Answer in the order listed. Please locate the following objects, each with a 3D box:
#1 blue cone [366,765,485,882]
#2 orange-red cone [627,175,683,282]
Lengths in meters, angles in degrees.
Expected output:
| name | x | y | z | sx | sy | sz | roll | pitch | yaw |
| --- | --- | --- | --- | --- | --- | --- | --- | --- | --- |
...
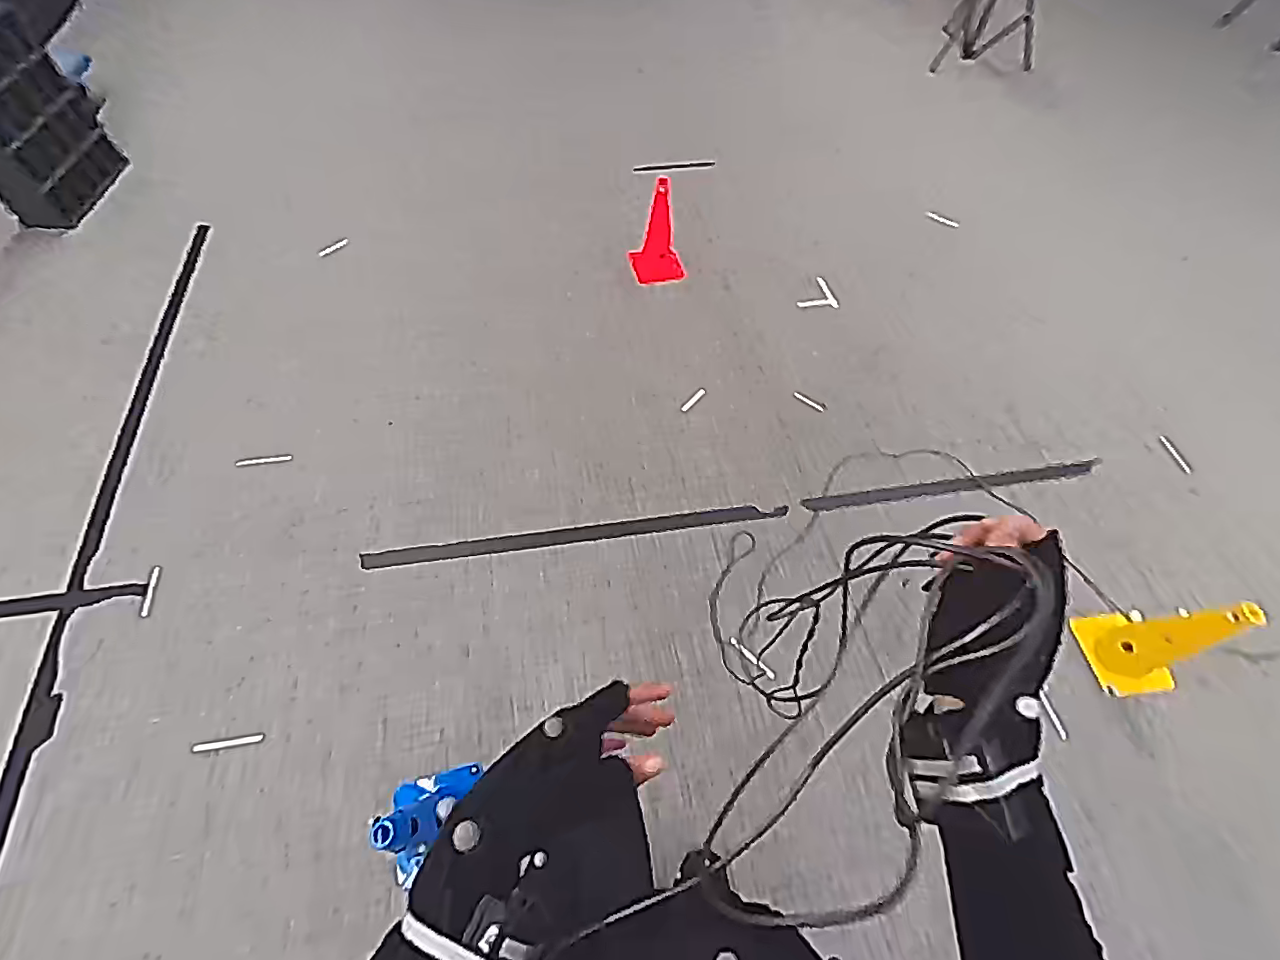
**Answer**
| name | x | y | z | sx | sy | sz | roll | pitch | yaw |
| --- | --- | --- | --- | --- | --- | --- | --- | --- | --- |
| blue cone | -0.436 | 0.667 | 1.044 | 0.193 | 0.380 | 0.192 | -12 | 60 | -9 |
| orange-red cone | 0.062 | -0.954 | 2.022 | 0.199 | 0.360 | 0.198 | -12 | 60 | -8 |
